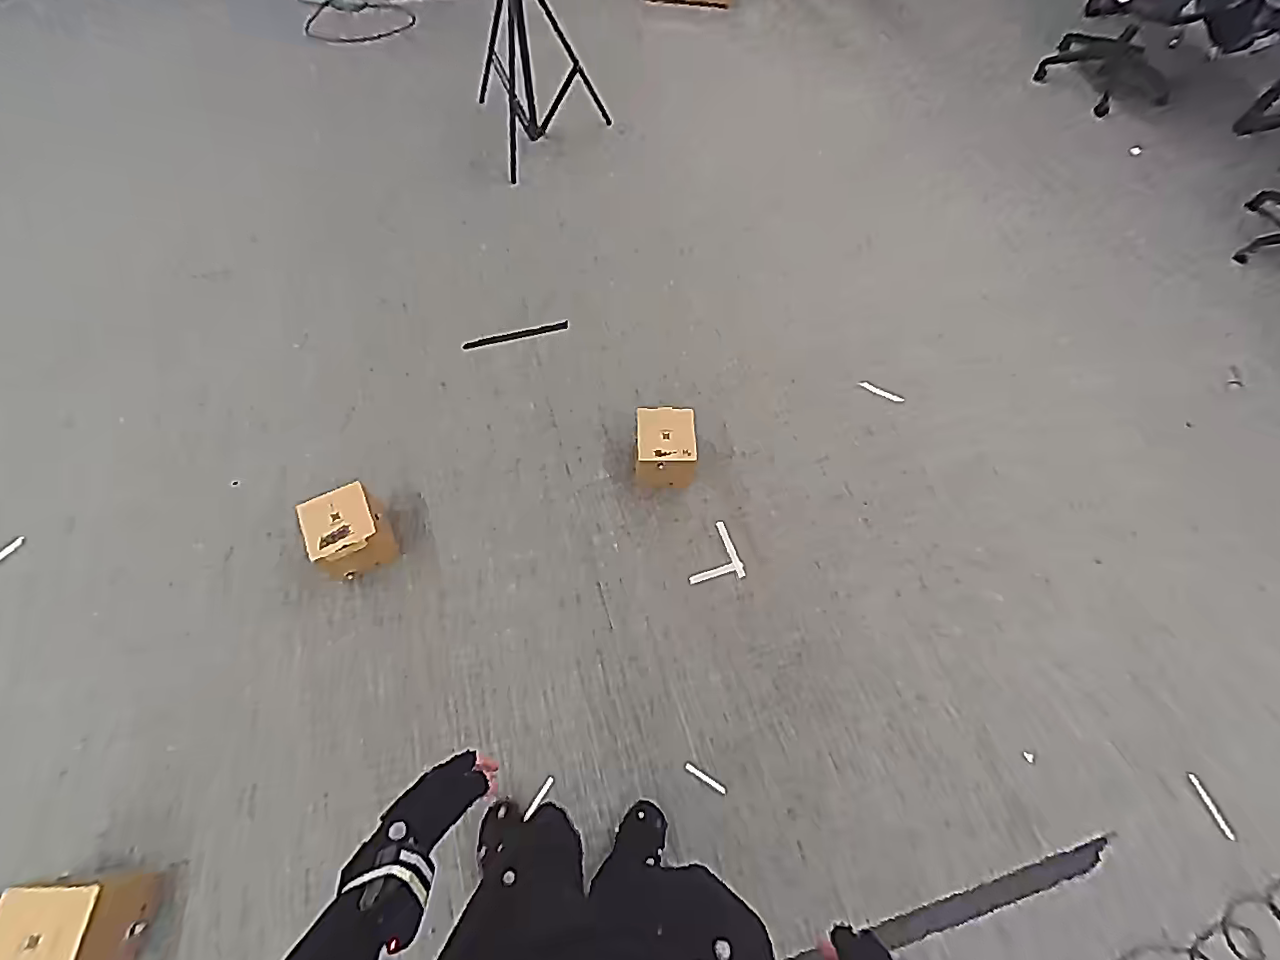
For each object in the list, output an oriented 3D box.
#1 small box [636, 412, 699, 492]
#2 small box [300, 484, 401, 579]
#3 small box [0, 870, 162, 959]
[{"bbox_3d":[0.076,-0.081,1.599,0.168,0.176,0.179,0,62,-3],"label":"small box"},{"bbox_3d":[-0.765,0.146,1.443,0.168,0.176,0.179,-25,65,-14],"label":"small box"},{"bbox_3d":[-1.100,0.871,1.046,0.179,0.176,0.168,1,64,-3],"label":"small box"}]
